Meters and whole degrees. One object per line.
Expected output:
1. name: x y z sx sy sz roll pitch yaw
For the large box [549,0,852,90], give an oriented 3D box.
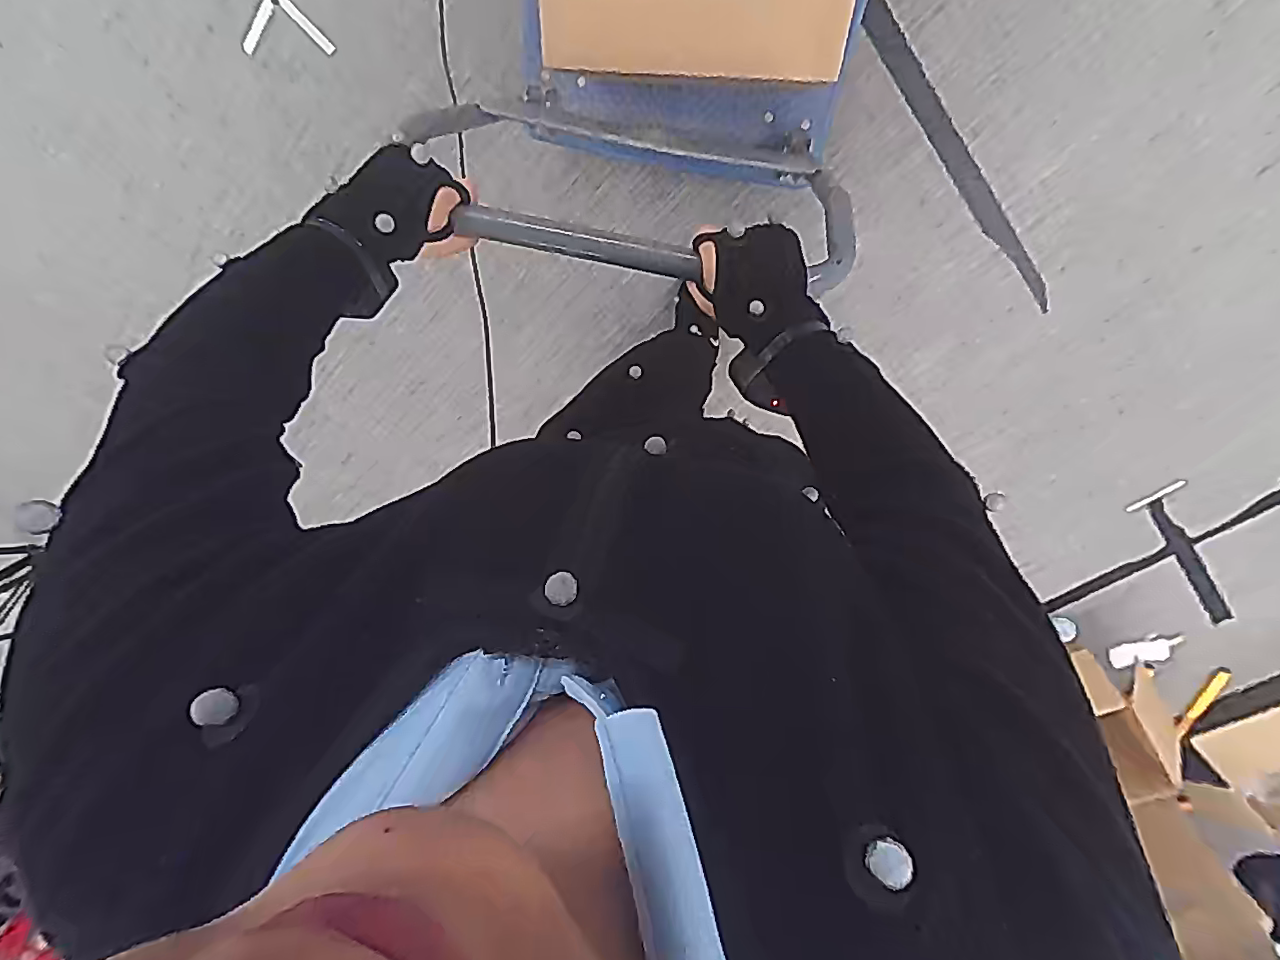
1. large box: 0.092 -0.767 0.786 0.408 0.320 0.320 5 125 4
